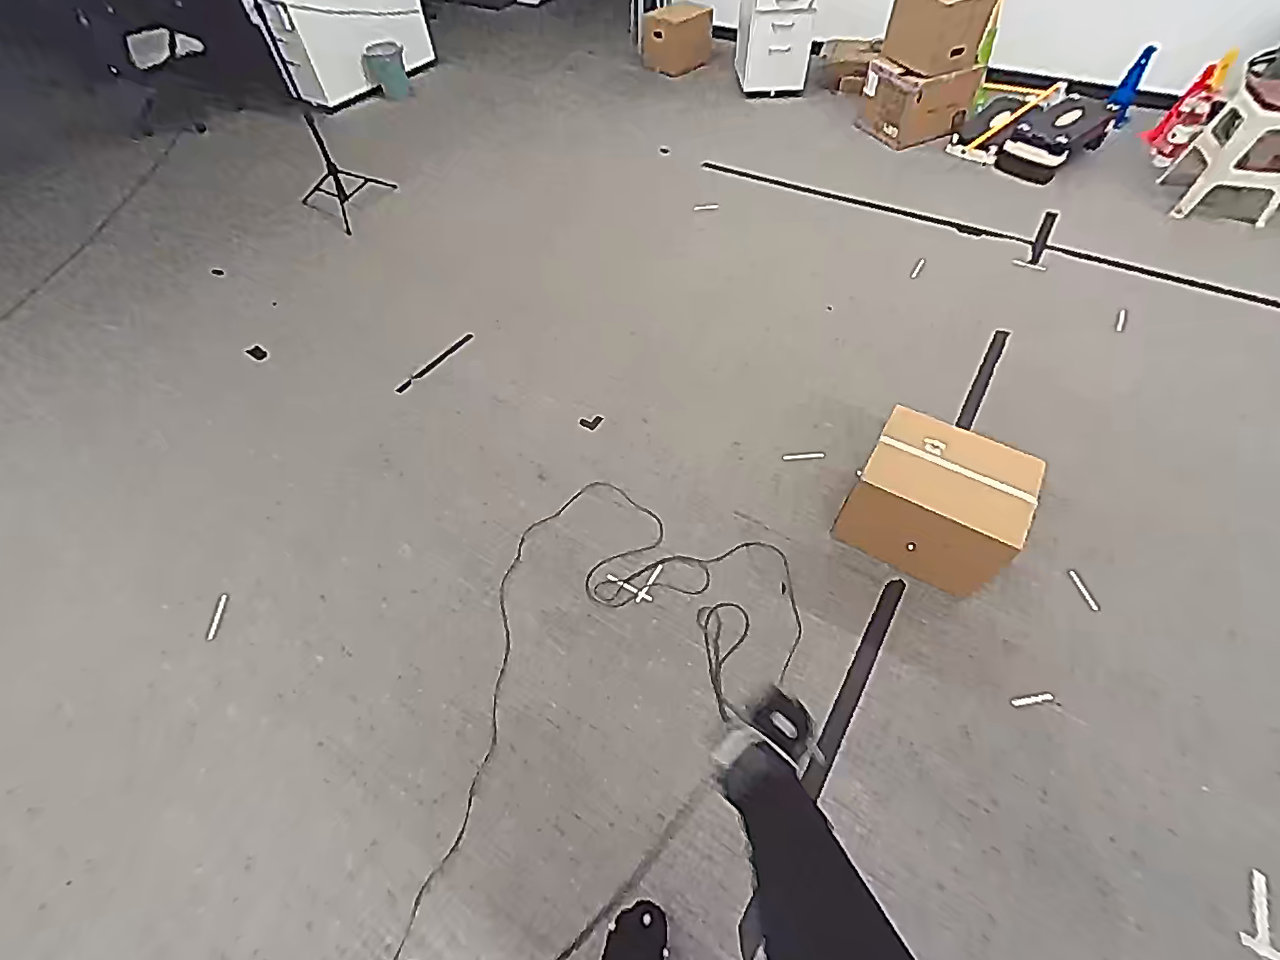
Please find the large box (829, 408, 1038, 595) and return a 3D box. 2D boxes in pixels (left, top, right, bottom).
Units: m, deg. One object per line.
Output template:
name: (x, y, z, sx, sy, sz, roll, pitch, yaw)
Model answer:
large box: (0.821, 0.063, 1.554, 0.408, 0.320, 0.320, 27, 60, 20)
